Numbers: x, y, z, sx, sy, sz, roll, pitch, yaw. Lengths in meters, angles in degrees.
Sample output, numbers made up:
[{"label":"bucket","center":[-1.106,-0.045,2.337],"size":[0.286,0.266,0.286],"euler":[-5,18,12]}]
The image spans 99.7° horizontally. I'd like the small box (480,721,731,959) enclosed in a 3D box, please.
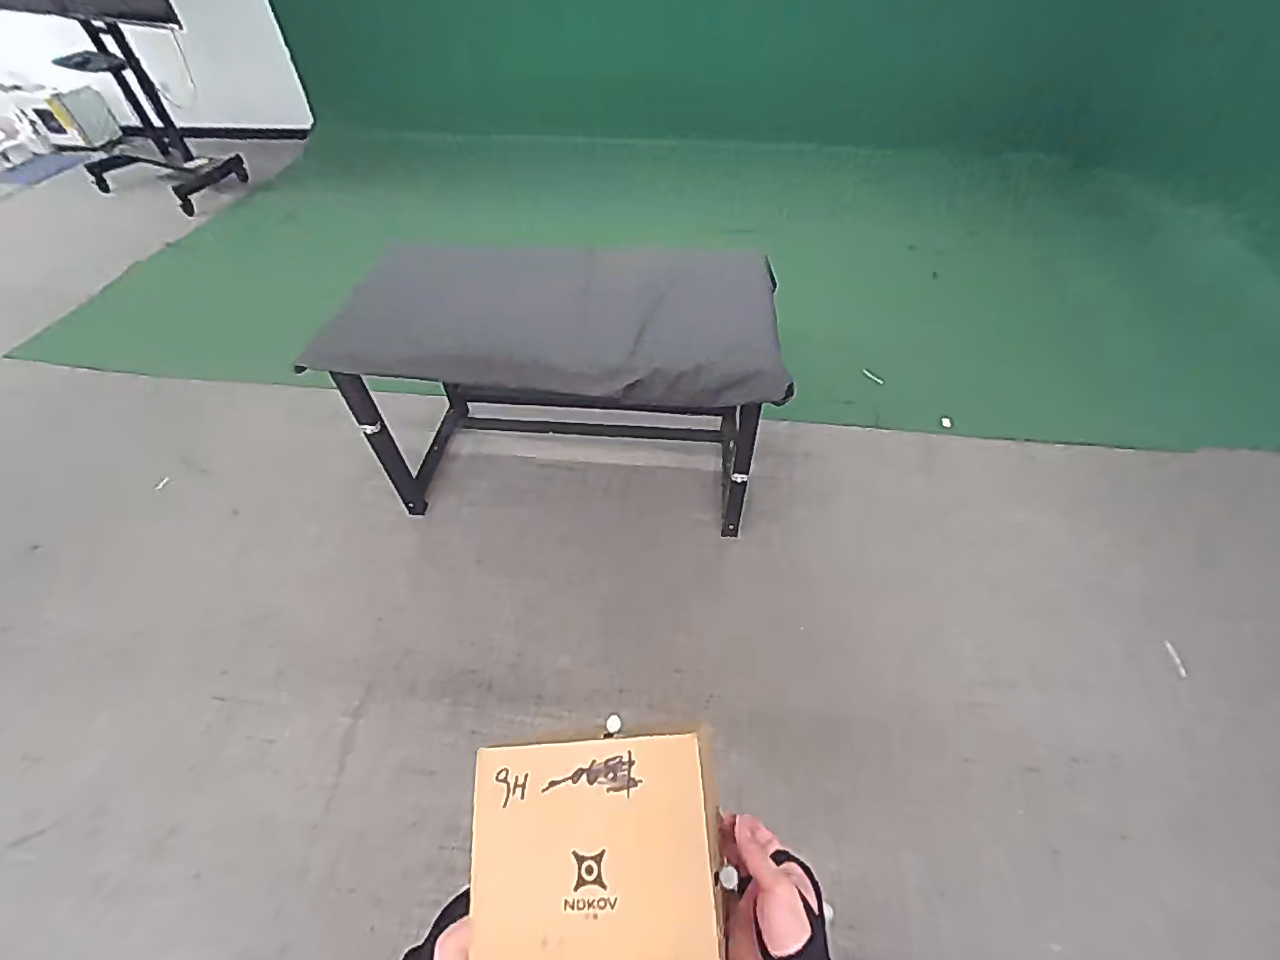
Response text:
[{"label":"small box","center":[-0.017,0.304,0.442],"size":[0.168,0.176,0.179],"euler":[-7,70,7]}]
